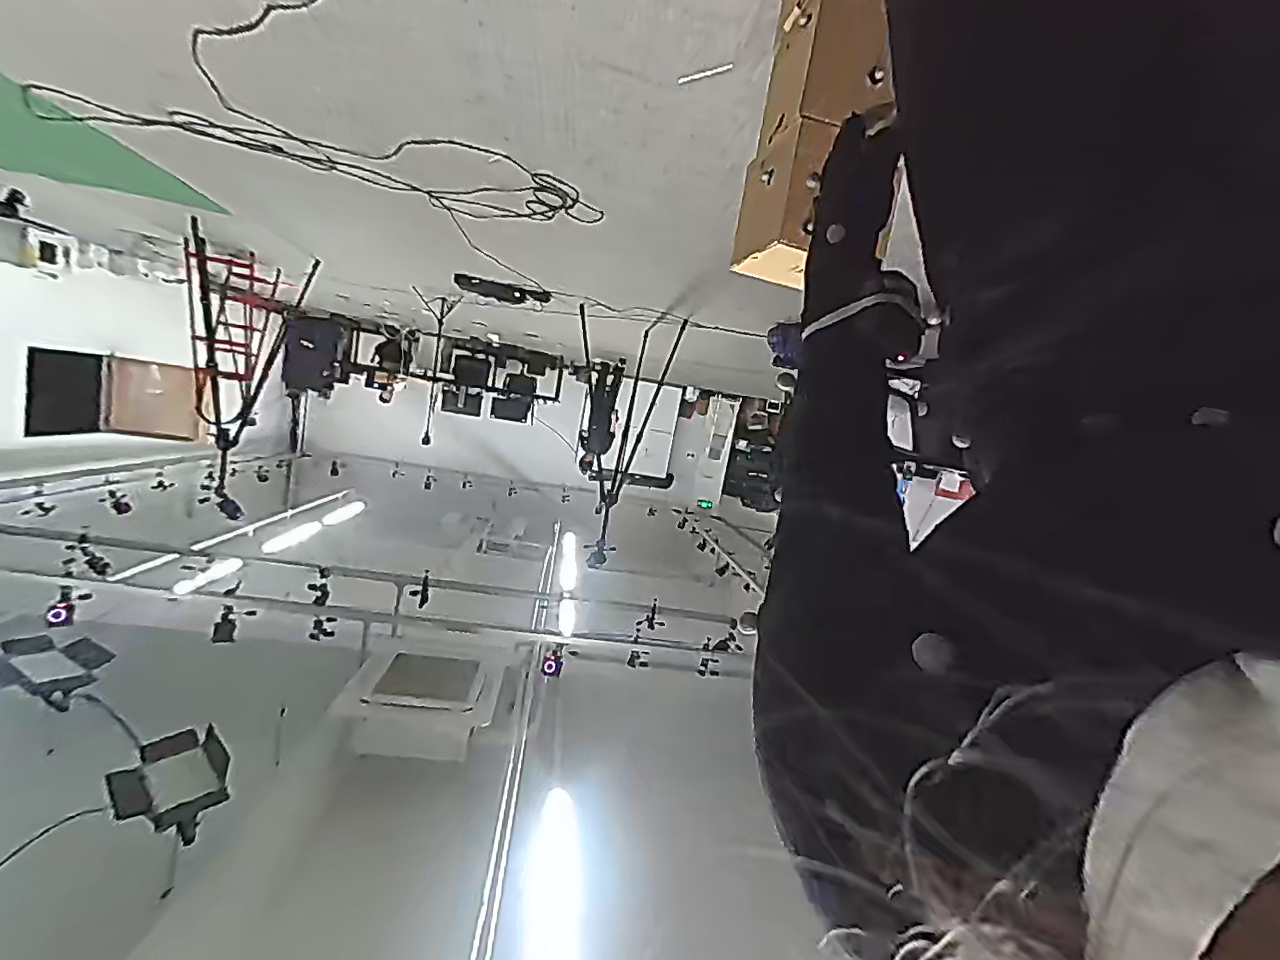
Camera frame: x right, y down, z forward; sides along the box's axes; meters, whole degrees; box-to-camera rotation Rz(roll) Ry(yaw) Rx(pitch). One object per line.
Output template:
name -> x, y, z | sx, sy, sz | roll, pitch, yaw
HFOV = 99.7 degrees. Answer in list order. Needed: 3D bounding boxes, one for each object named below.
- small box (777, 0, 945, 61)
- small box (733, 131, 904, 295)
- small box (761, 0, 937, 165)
small box -> 0.327, -0.720, 0.782 | 0.179, 0.176, 0.168 | 11, -171, -8
small box -> 0.270, -0.400, 0.832 | 0.179, 0.176, 0.168 | 9, -173, -16
small box -> 0.301, -0.557, 0.806 | 0.179, 0.176, 0.168 | 8, -173, -11
